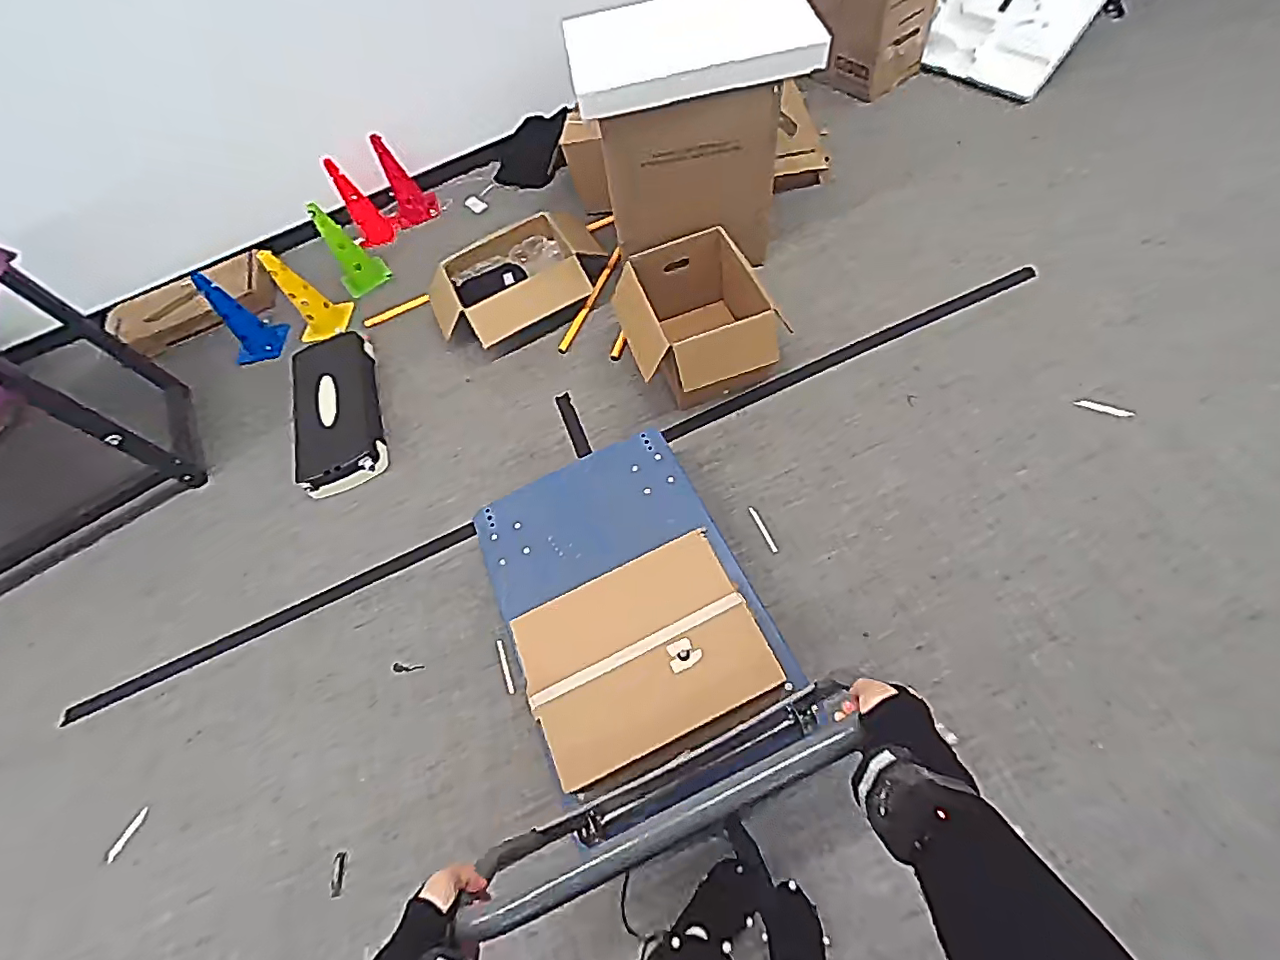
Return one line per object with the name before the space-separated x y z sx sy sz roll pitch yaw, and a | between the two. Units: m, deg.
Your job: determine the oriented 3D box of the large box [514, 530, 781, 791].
large box | 0.022 0.371 1.085 0.408 0.320 0.320 -26 61 -5
